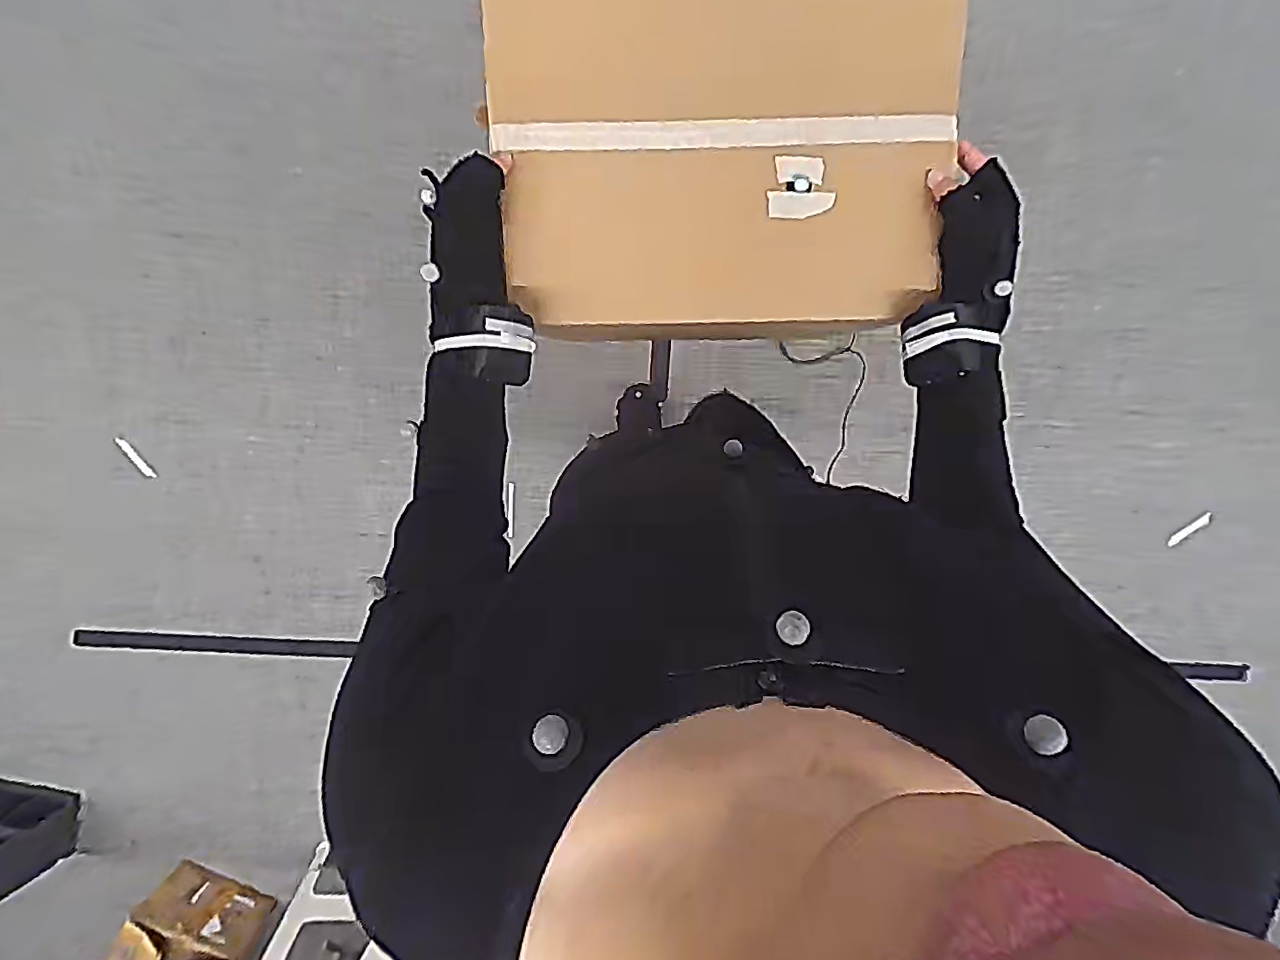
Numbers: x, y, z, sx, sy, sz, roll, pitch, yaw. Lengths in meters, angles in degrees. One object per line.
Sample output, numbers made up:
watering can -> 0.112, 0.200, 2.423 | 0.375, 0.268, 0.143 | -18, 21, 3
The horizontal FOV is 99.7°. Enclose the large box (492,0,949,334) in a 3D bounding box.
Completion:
large box -> 0.070, -0.345, 0.634 | 0.408, 0.320, 0.320 | -1, 103, -1
